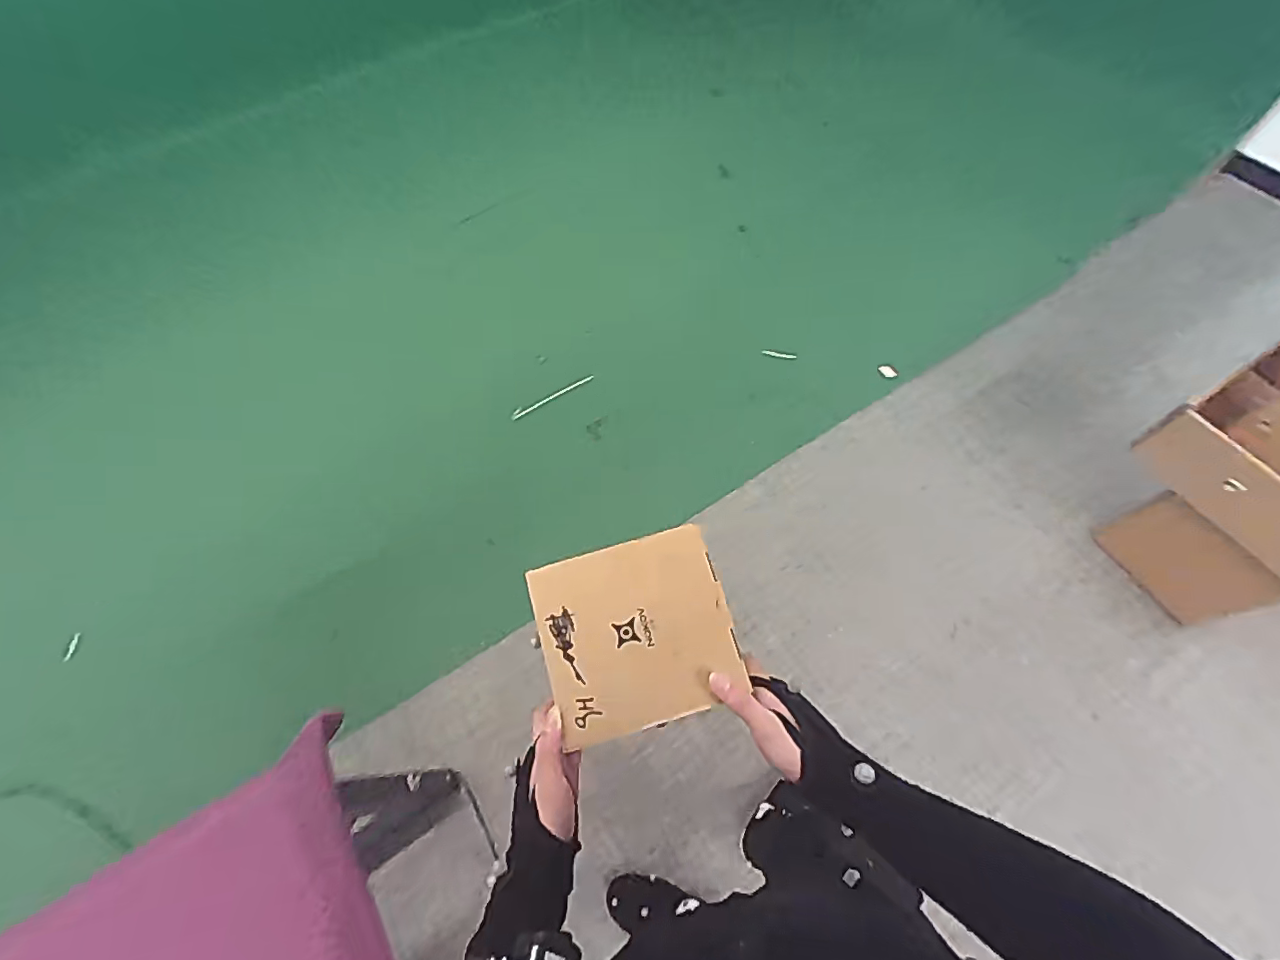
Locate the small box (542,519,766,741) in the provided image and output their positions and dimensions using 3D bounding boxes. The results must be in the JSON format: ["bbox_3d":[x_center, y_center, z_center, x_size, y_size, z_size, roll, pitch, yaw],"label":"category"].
[{"bbox_3d":[0.008,0.154,0.569,0.179,0.176,0.168,-14,72,-5],"label":"small box"}]
